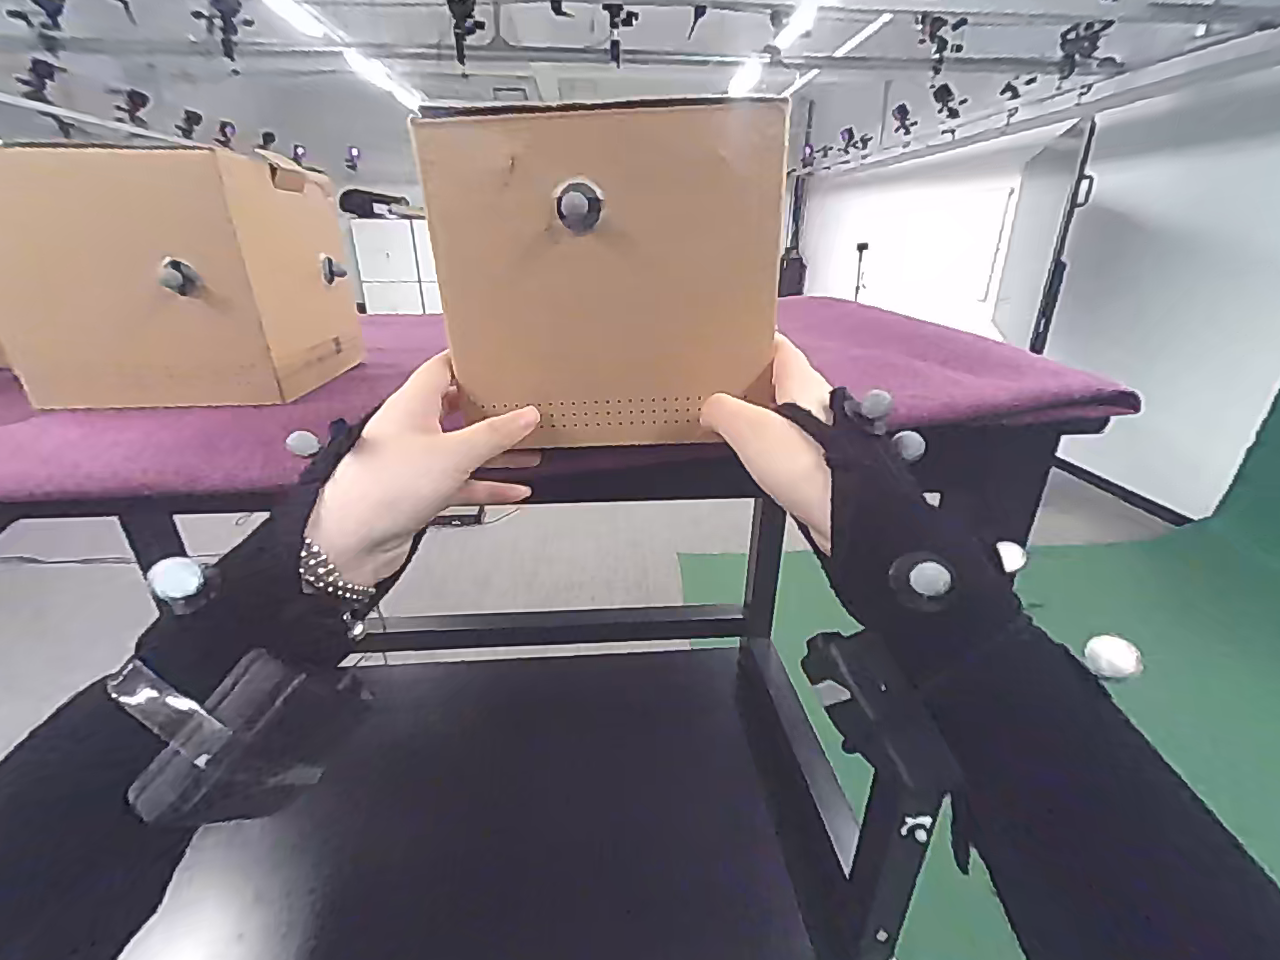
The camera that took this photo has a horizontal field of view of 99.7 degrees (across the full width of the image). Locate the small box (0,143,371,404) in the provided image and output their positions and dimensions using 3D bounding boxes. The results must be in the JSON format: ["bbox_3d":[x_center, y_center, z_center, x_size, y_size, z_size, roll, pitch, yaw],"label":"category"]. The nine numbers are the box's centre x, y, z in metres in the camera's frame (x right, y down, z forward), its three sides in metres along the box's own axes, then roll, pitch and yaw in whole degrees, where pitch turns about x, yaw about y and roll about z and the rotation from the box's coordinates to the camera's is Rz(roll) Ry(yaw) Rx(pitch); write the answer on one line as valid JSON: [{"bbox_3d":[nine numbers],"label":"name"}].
[{"bbox_3d":[-0.347,-0.164,0.443,0.179,0.176,0.168,-3,23,-5],"label":"small box"}]

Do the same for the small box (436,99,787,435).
[{"bbox_3d":[-0.010,-0.132,0.363,0.179,0.176,0.168,-1,24,1],"label":"small box"}]
